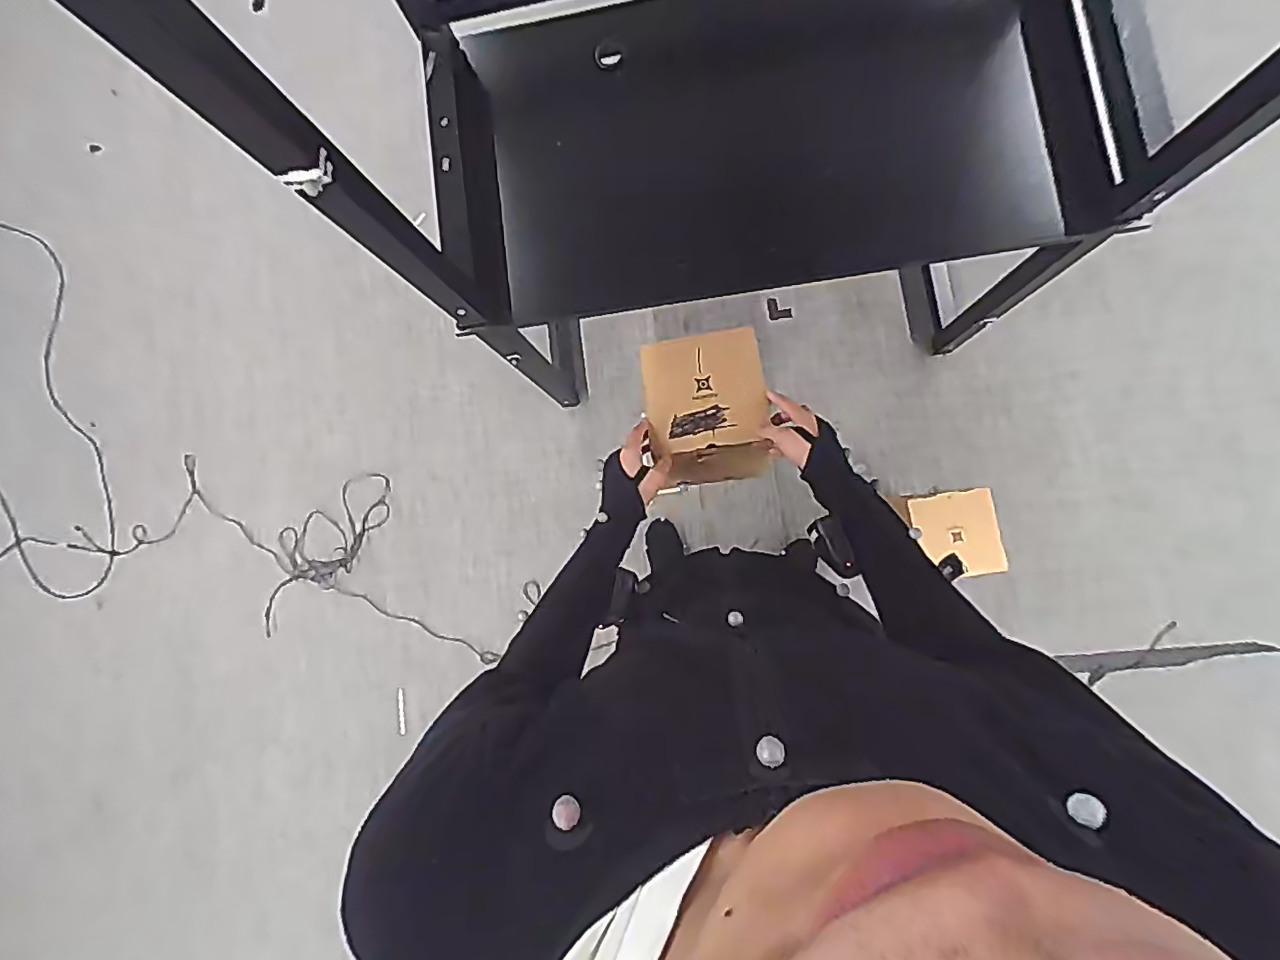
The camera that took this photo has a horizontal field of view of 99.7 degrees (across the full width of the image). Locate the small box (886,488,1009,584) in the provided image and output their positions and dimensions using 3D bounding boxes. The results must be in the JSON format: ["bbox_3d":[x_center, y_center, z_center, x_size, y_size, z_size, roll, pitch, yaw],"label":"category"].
[{"bbox_3d":[0.658,0.118,1.178,0.168,0.176,0.179,-11,84,6],"label":"small box"}]

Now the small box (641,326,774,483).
[{"bbox_3d":[0.101,-0.100,0.810,0.168,0.176,0.179,-8,73,6],"label":"small box"}]
